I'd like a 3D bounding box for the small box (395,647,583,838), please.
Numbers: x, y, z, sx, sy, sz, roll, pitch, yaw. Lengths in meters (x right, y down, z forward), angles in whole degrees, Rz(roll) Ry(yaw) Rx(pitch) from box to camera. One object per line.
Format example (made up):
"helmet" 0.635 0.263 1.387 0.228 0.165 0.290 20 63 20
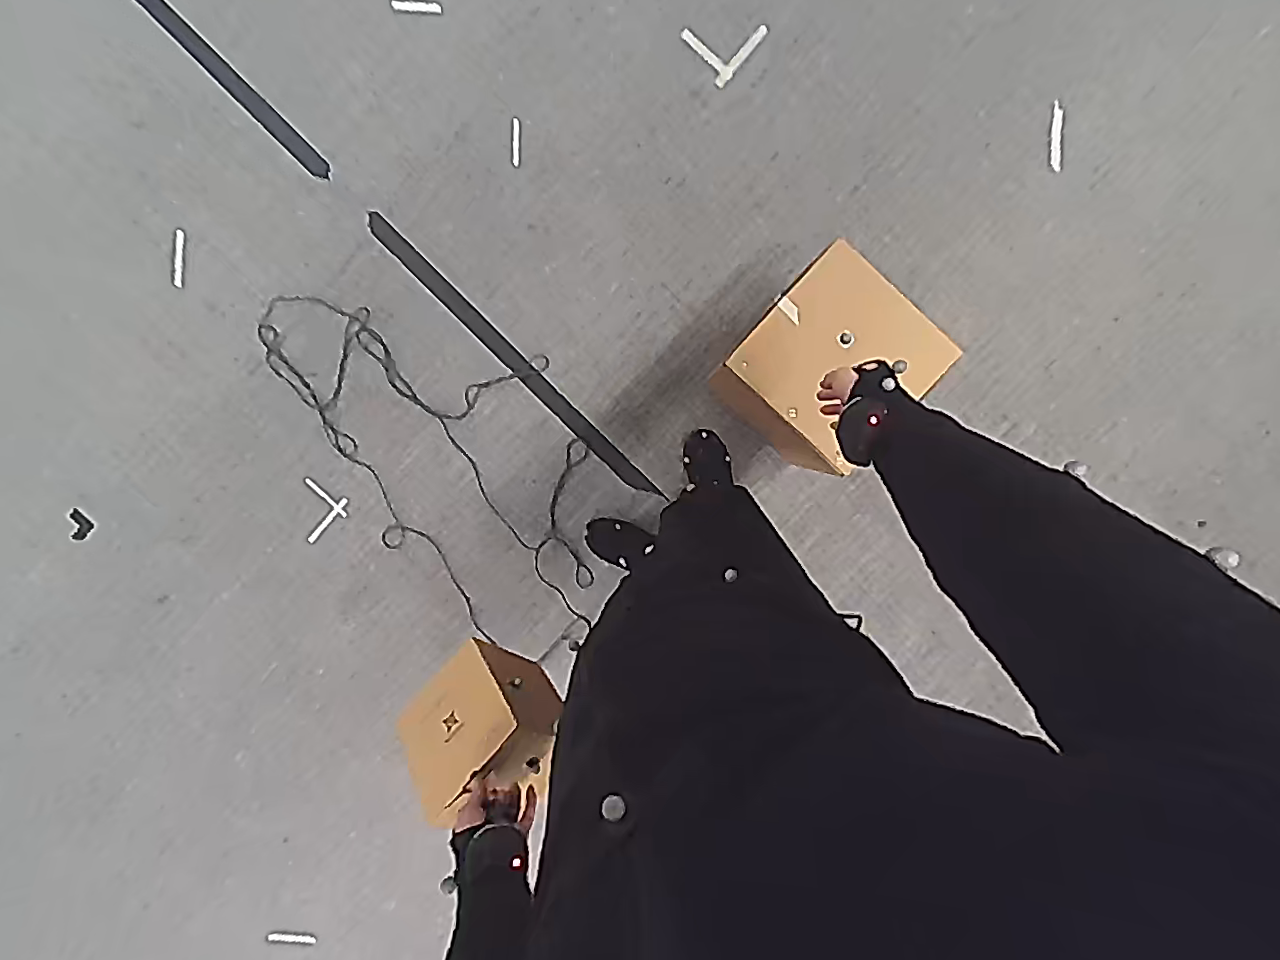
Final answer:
"small box" -0.213 0.379 0.784 0.168 0.179 0.176 -47 137 -4
